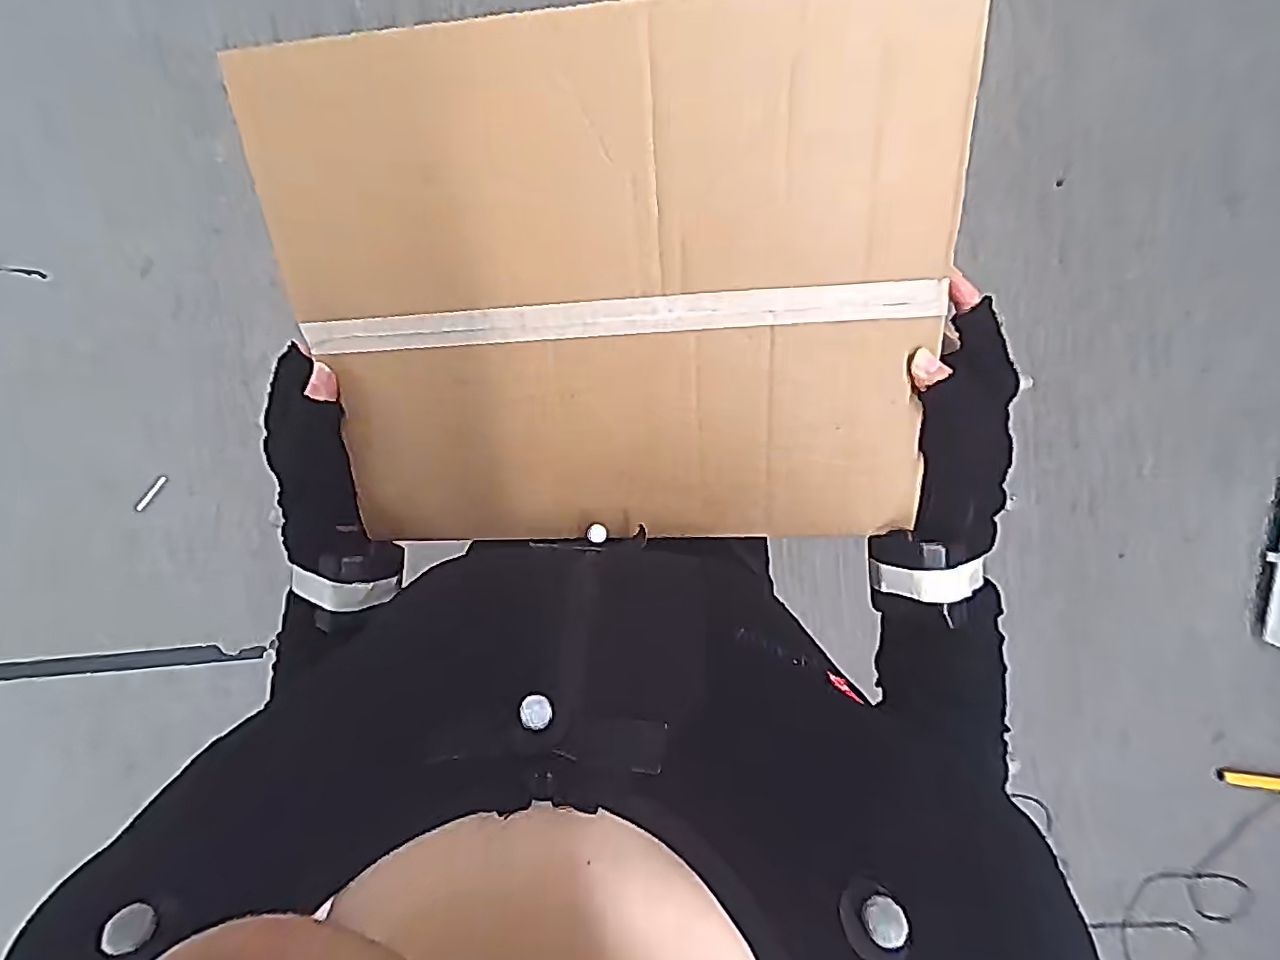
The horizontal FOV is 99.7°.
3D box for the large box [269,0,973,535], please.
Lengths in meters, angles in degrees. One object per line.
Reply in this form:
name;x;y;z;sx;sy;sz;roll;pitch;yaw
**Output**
large box;-0.002;-0.162;0.490;0.408;0.320;0.320;-1;114;7
